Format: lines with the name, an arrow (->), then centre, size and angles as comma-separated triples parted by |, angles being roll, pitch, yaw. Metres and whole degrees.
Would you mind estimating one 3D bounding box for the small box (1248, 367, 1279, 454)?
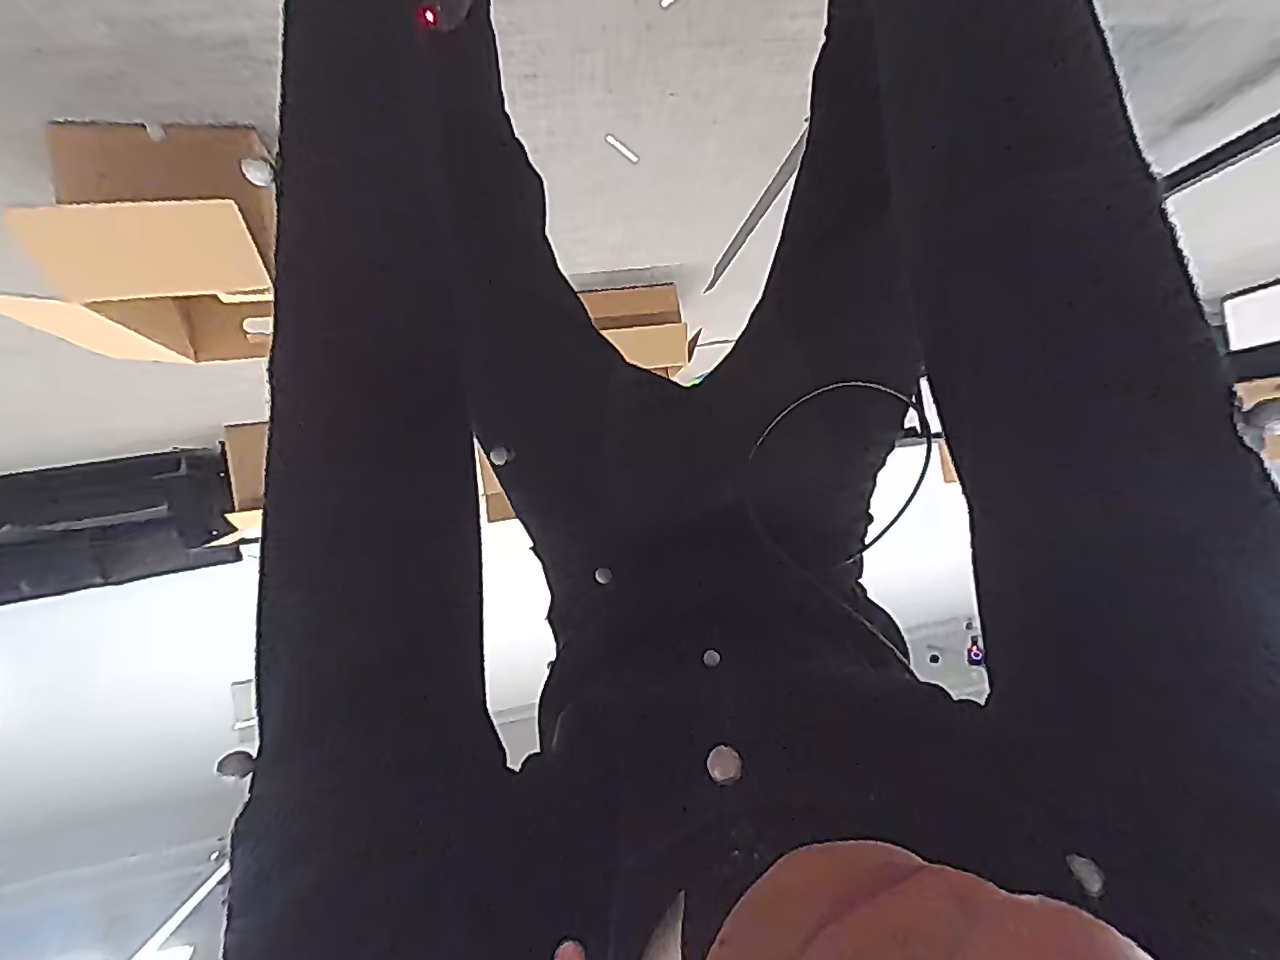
small box -> 1.367, -0.153, 1.061 | 0.179, 0.176, 0.168 | -9, 179, -13
